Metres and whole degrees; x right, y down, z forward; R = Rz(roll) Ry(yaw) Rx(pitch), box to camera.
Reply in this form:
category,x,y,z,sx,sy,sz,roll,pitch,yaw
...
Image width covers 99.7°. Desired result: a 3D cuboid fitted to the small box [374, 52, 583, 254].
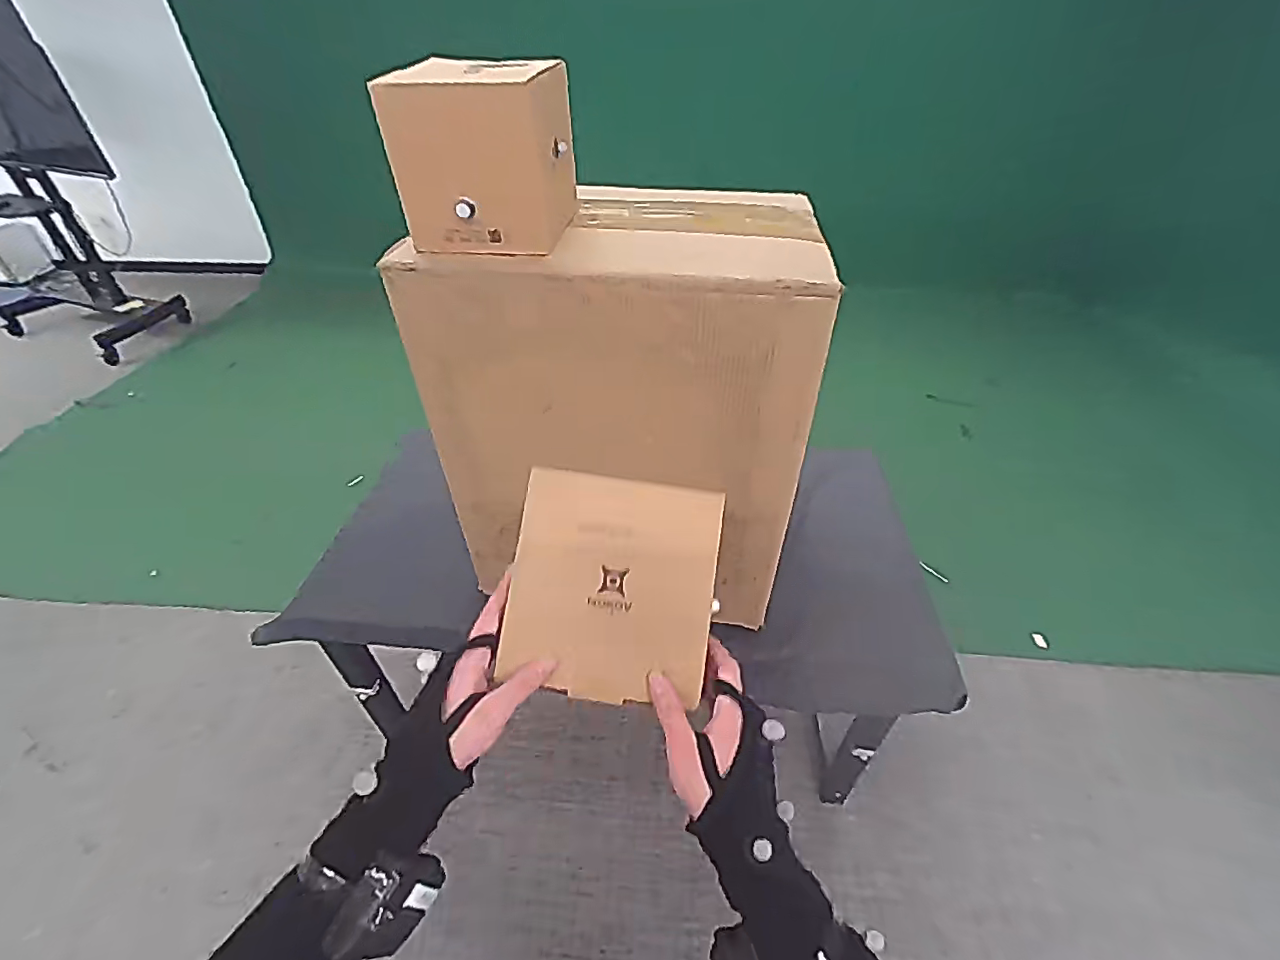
category,x,y,z,sx,sy,sz,roll,pitch,yaw
small box,-0.166,-0.381,0.628,0.168,0.176,0.179,5,44,7
